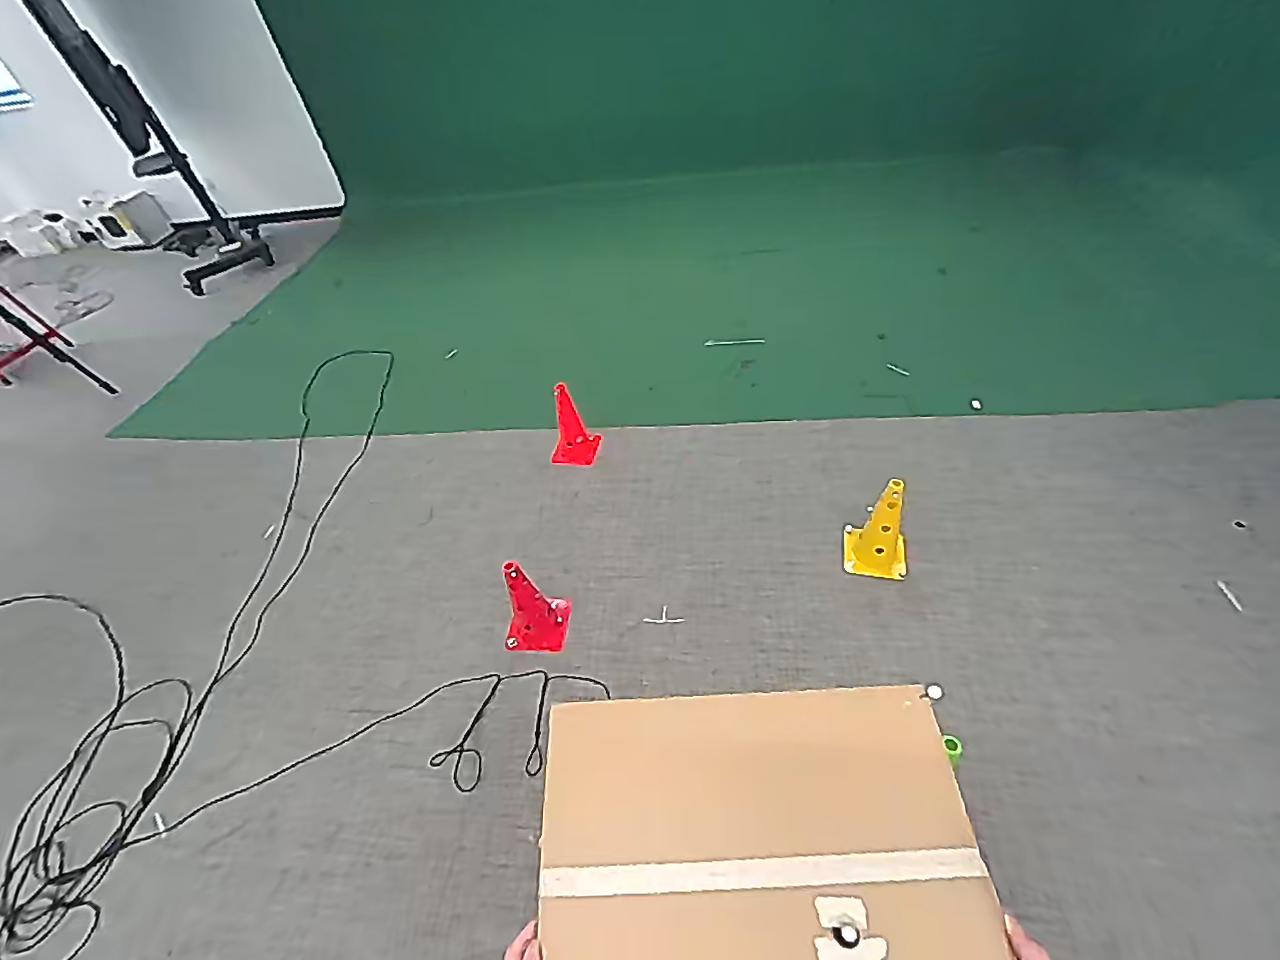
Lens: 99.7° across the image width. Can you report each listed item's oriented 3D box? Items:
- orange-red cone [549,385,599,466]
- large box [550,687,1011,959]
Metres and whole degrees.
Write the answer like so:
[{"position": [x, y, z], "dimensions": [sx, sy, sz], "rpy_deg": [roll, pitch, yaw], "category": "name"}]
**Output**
[{"position": [-0.319, -0.252, 2.321], "dimensions": [0.199, 0.360, 0.198], "rpy_deg": [3, 47, 14], "category": "orange-red cone"}, {"position": [0.121, 0.452, 0.622], "dimensions": [0.408, 0.320, 0.320], "rpy_deg": [-4, 55, 1], "category": "large box"}]
